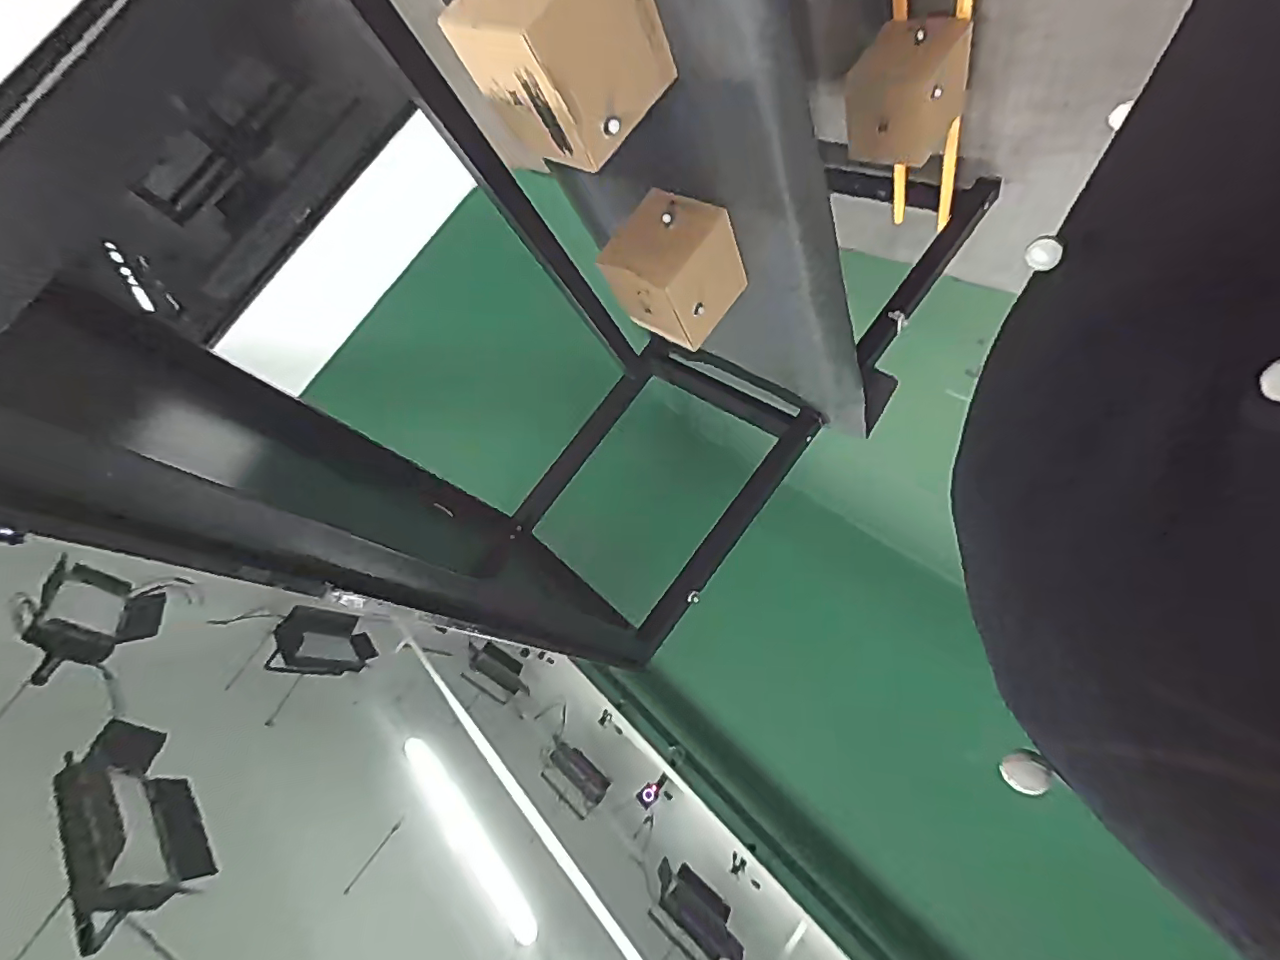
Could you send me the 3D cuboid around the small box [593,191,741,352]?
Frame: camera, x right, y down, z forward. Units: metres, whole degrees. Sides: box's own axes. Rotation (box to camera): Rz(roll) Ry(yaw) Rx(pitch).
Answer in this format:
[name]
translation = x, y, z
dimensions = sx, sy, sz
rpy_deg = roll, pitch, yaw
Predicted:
[small box]
translation = 0.057, -0.365, 0.952
dimensions = 0.168, 0.176, 0.179
rpy_deg = 34, 175, 31
